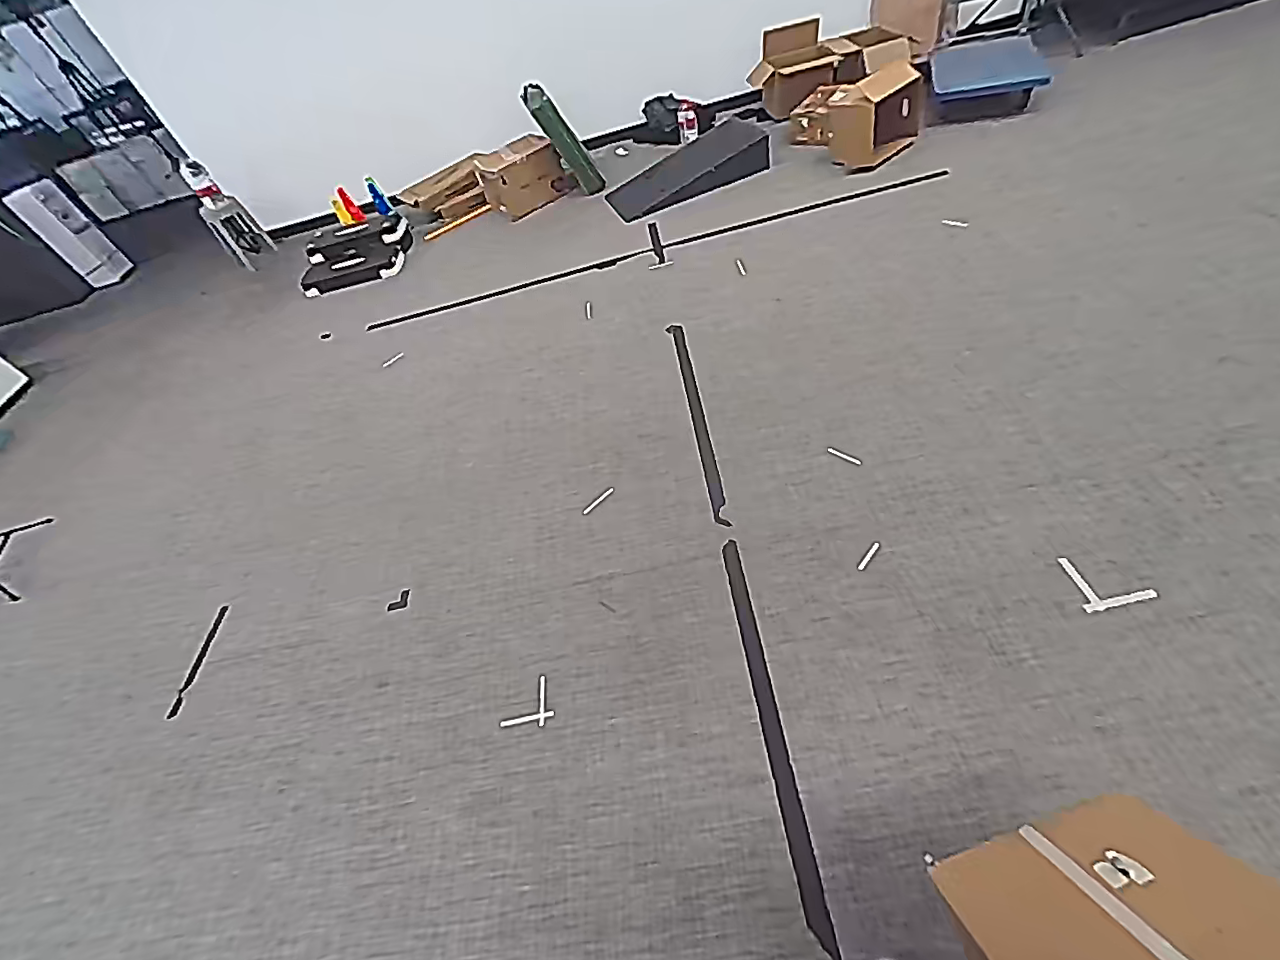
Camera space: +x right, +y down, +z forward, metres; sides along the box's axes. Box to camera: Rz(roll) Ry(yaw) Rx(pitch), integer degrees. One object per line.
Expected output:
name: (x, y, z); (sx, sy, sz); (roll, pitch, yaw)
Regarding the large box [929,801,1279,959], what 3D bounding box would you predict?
large box: (0.618, 0.650, 0.593); (0.320, 0.408, 0.320); (-22, 82, 2)
